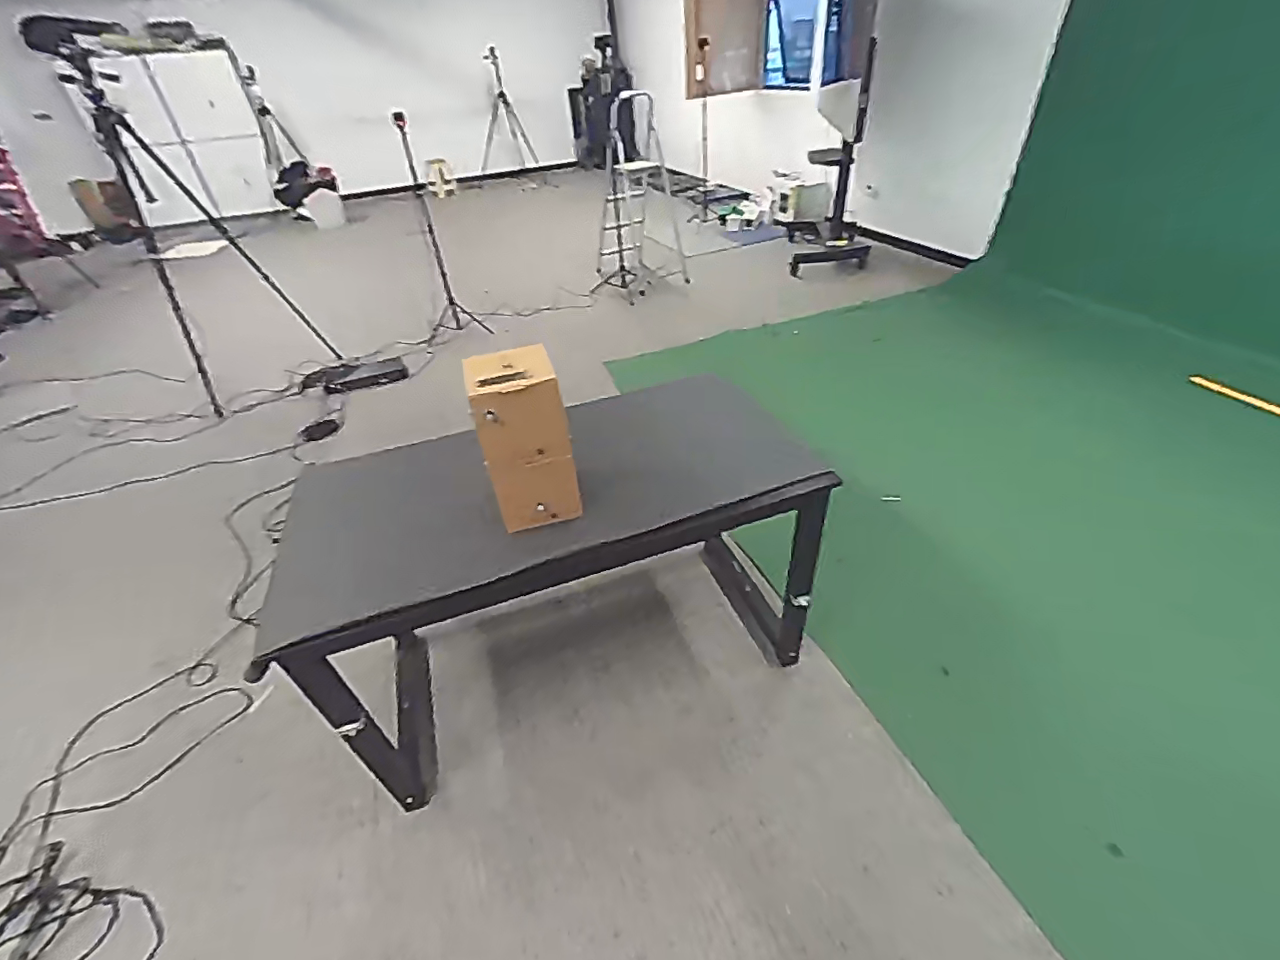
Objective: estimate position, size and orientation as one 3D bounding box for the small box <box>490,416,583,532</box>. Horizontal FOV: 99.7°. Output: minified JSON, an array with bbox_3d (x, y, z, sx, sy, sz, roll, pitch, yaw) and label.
[{"bbox_3d":[-0.226,-0.014,1.178,0.168,0.176,0.179,-13,38,-9],"label":"small box"}]
